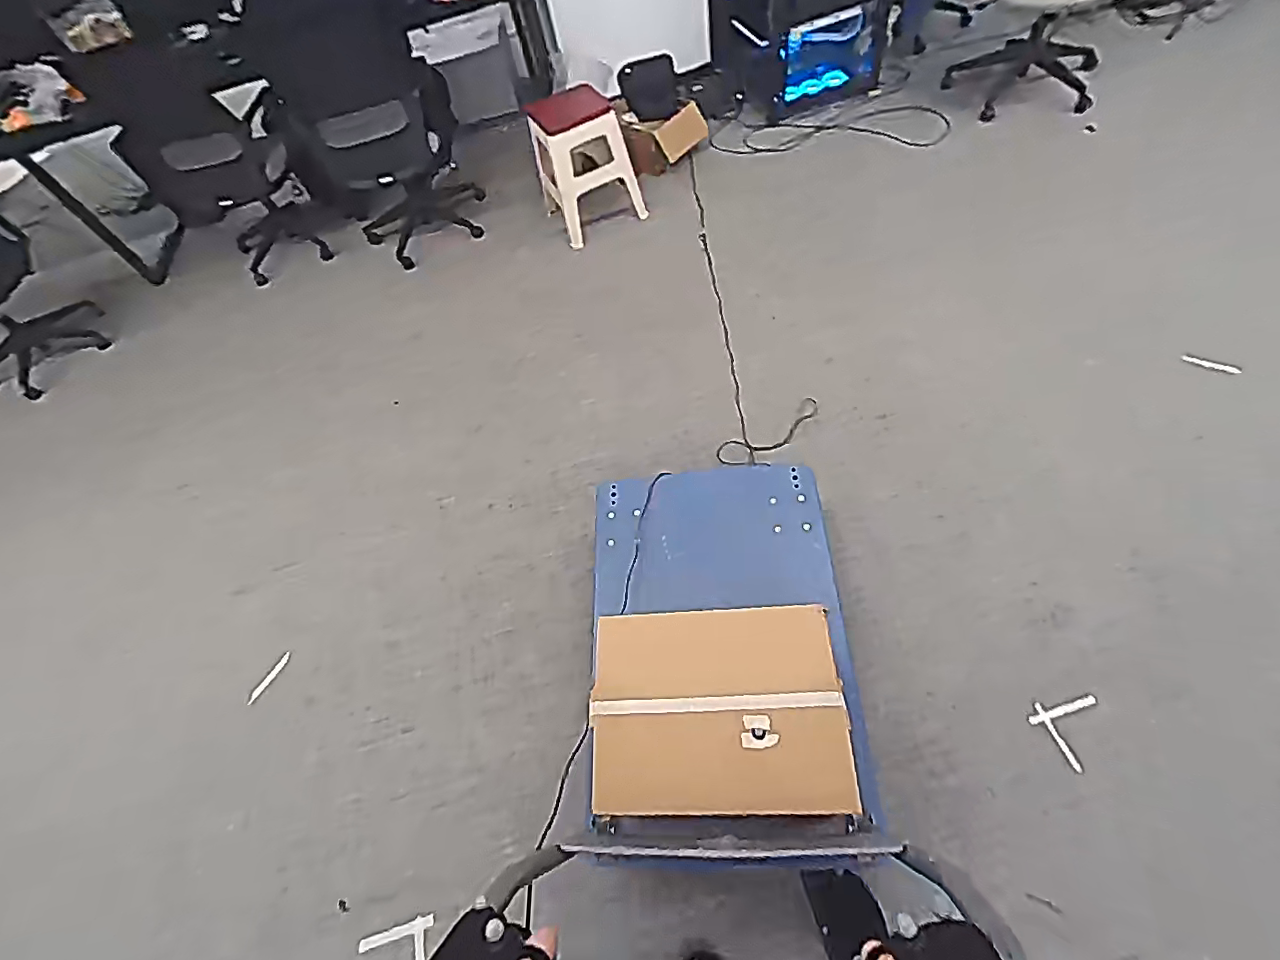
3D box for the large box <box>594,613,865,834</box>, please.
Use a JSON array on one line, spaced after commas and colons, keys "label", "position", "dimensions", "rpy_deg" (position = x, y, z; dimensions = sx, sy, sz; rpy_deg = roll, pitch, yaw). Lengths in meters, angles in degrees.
[{"label": "large box", "position": [0.143, 0.451, 0.988], "dimensions": [0.408, 0.320, 0.320], "rpy_deg": [-5, 60, 7]}]
